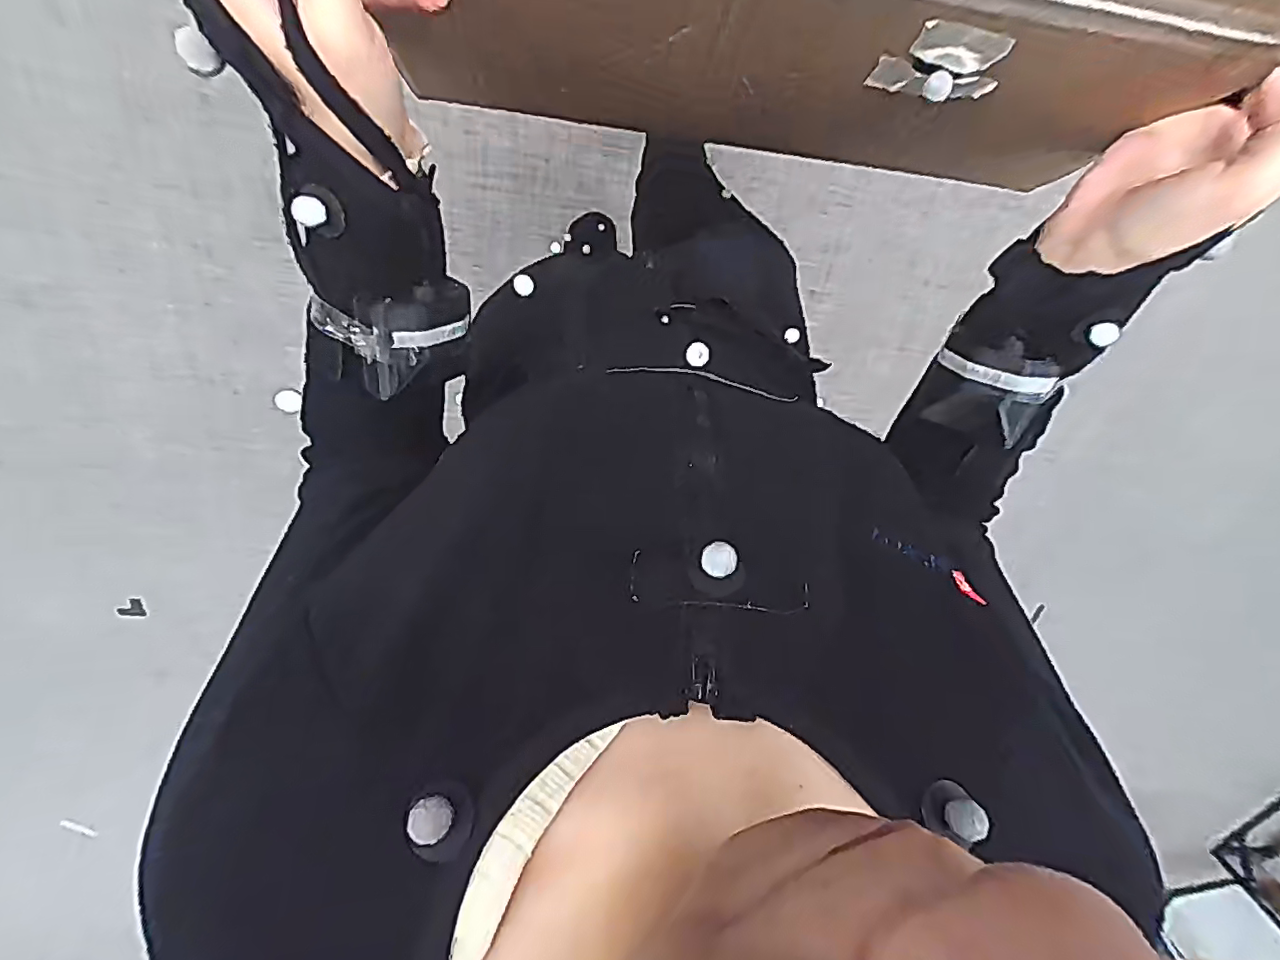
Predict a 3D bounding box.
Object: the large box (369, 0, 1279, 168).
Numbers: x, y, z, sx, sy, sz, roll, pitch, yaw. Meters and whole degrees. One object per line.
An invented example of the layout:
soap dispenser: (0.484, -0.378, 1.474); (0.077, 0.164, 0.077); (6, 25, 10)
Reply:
large box: (0.086, -0.352, 0.179); (0.408, 0.320, 0.320); (4, 99, -6)
